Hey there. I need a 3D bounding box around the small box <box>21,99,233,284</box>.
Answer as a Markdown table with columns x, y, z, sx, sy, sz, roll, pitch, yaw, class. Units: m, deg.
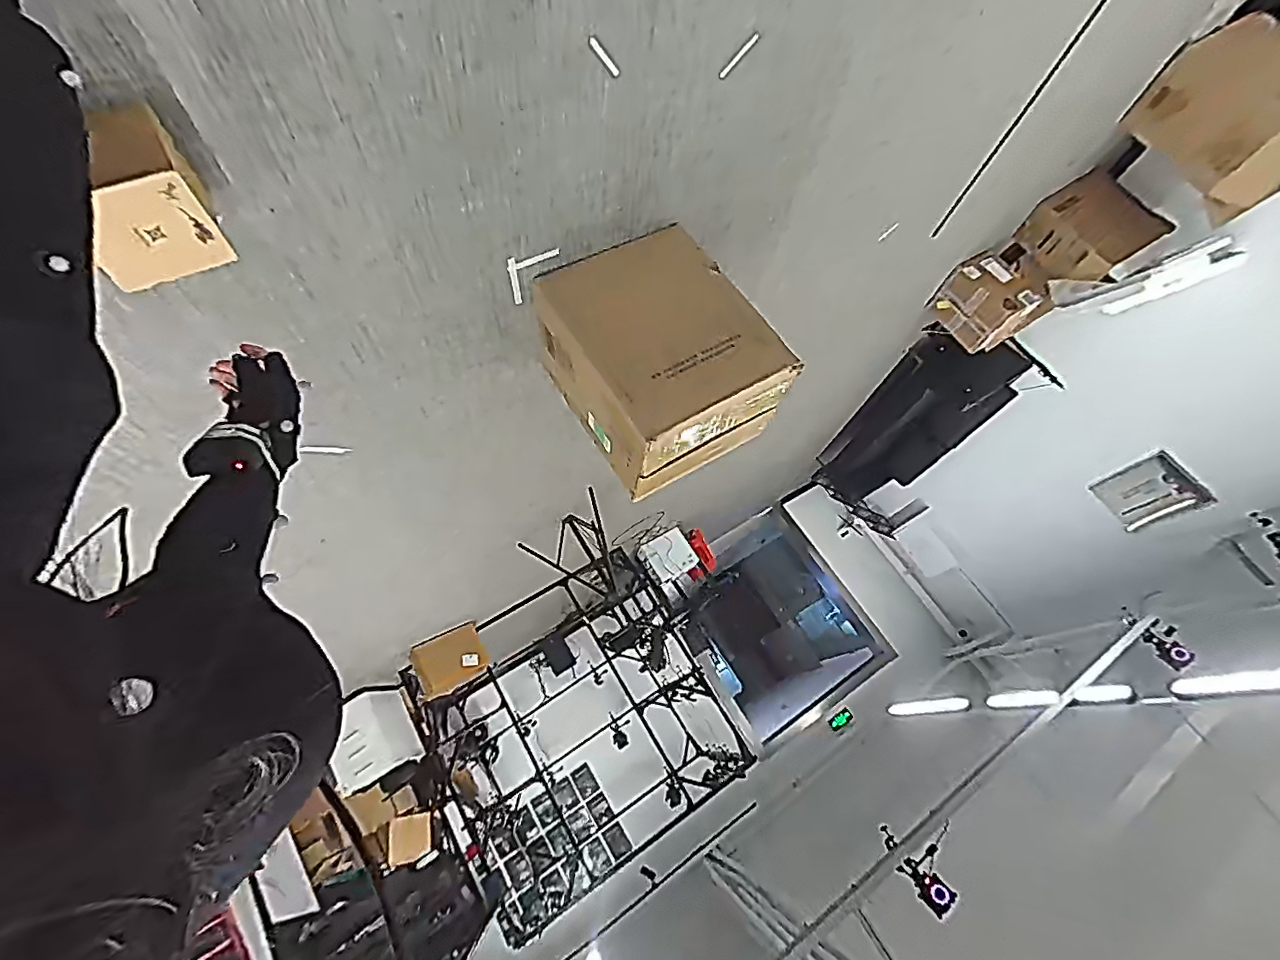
| x | y | z | sx | sy | sz | roll | pitch | yaw | class |
| --- | --- | --- | --- | --- | --- | --- | --- | --- | --- |
| -0.784 | -0.443 | 0.833 | 0.179 | 0.176 | 0.168 | -27 | 161 | -18 | small box |
